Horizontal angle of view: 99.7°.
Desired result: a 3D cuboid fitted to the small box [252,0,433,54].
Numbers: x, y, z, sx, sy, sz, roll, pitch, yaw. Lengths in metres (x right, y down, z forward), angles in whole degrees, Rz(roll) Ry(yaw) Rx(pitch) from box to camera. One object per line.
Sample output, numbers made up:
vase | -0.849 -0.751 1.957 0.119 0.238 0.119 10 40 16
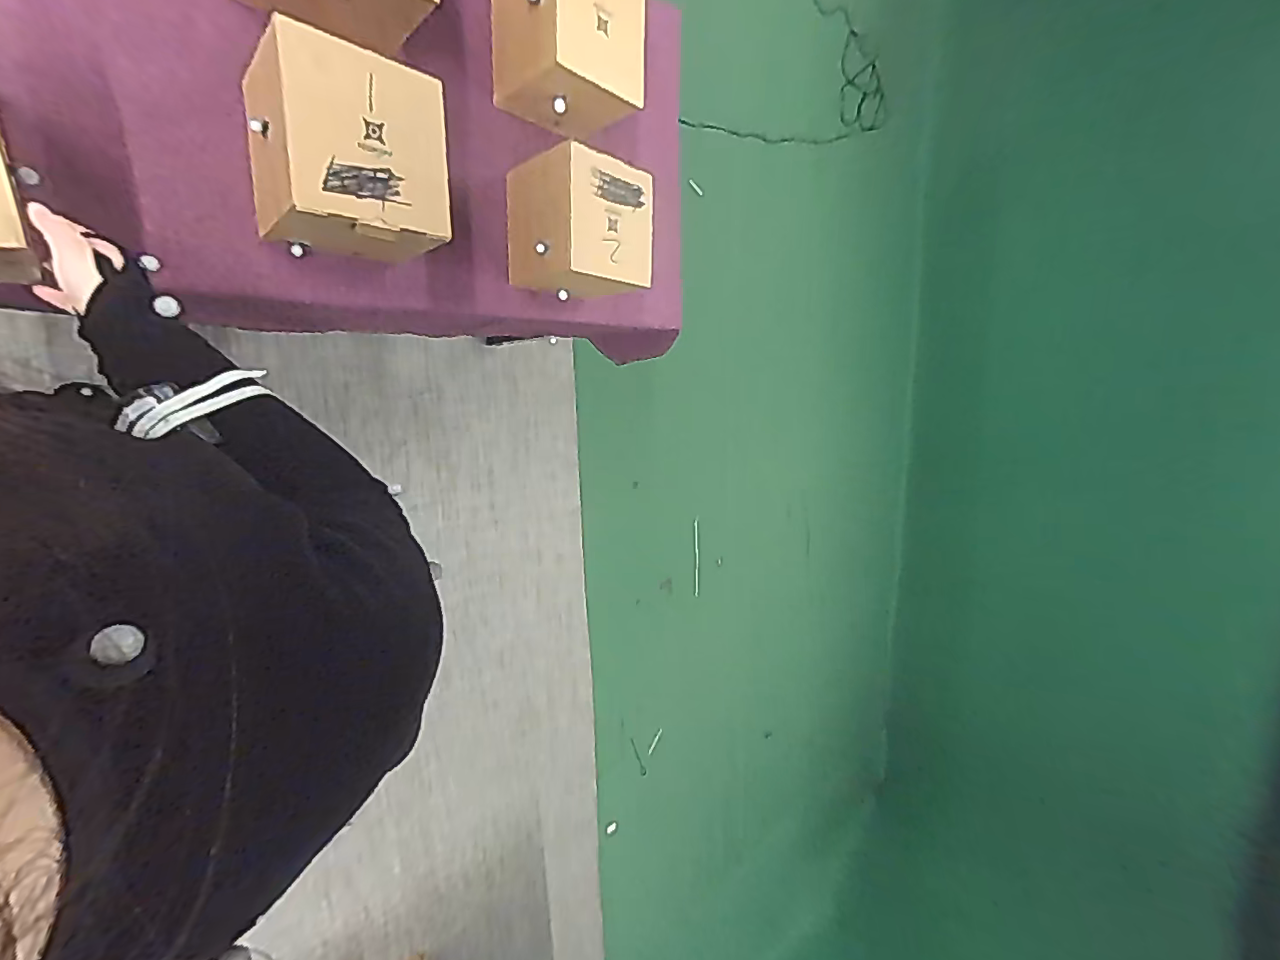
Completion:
small box | -0.339 -0.617 0.591 0.179 0.176 0.168 -7 102 -44

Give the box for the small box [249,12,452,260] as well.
small box | -0.337 -0.370 0.630 0.168 0.176 0.179 -9 101 -44

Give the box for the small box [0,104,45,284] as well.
small box | -0.587 -0.255 0.401 0.168 0.176 0.179 -15 106 -42

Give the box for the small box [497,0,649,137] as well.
small box | -0.104 -0.656 0.816 0.168 0.176 0.179 -7 100 -43
